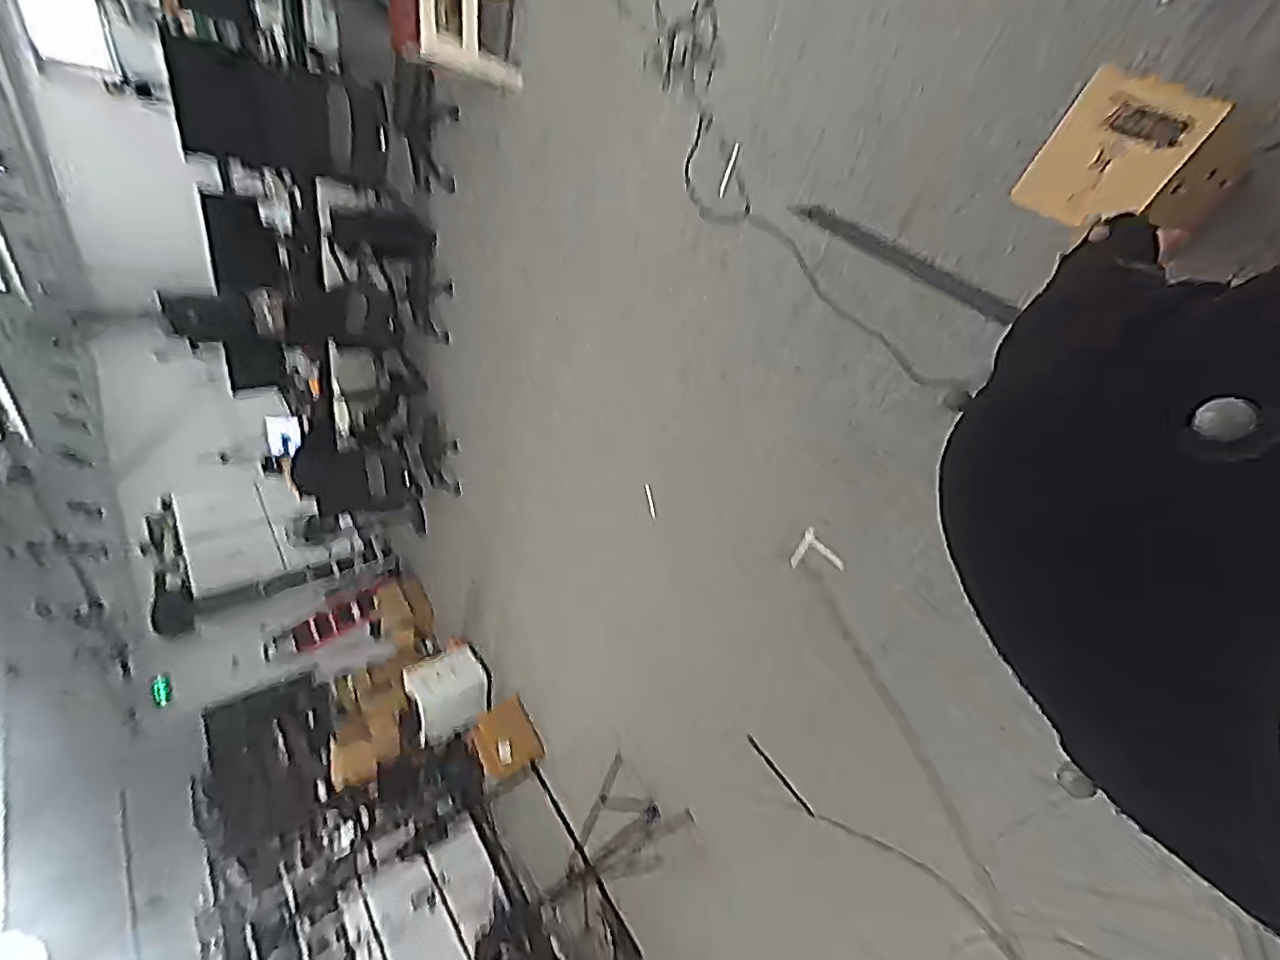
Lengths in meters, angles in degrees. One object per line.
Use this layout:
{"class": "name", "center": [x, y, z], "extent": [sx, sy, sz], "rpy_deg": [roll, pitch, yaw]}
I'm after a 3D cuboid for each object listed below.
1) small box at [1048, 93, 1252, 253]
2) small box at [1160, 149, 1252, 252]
{"class": "small box", "center": [0.828, -0.492, 0.884], "extent": [0.168, 0.176, 0.179], "rpy_deg": [48, 136, 30]}
{"class": "small box", "center": [0.949, -0.536, 0.987], "extent": [0.168, 0.176, 0.179], "rpy_deg": [51, 137, 26]}
